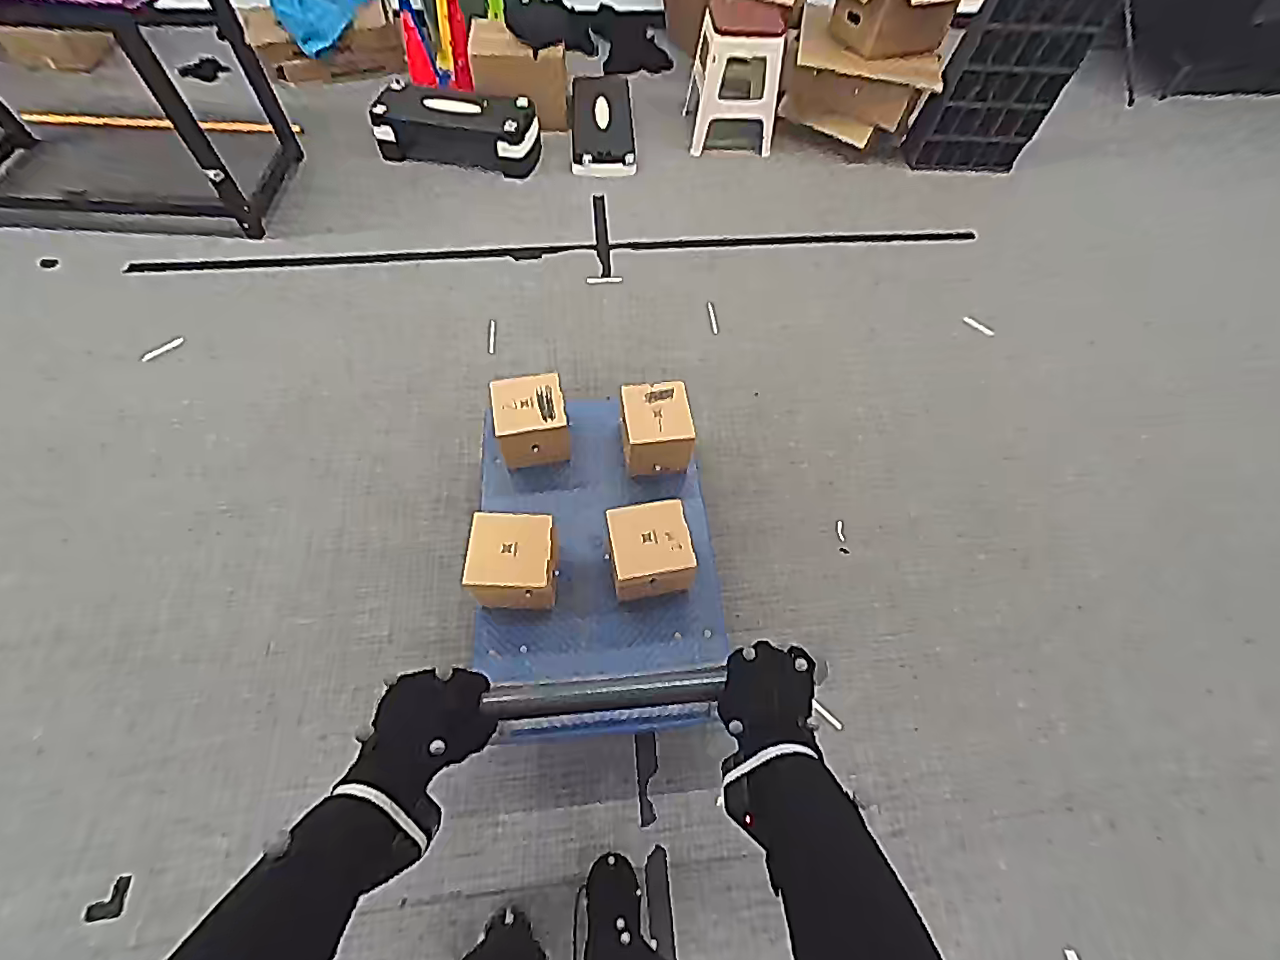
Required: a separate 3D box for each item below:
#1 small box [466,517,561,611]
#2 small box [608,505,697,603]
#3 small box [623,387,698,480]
[{"bbox_3d":[-0.279,0.195,1.233,0.179,0.176,0.168,3,61,-3],"label":"small box"},{"bbox_3d":[0.024,0.177,1.259,0.179,0.176,0.168,-8,62,-7],"label":"small box"},{"bbox_3d":[0.046,-0.120,1.423,0.168,0.176,0.179,-6,63,-6],"label":"small box"}]
